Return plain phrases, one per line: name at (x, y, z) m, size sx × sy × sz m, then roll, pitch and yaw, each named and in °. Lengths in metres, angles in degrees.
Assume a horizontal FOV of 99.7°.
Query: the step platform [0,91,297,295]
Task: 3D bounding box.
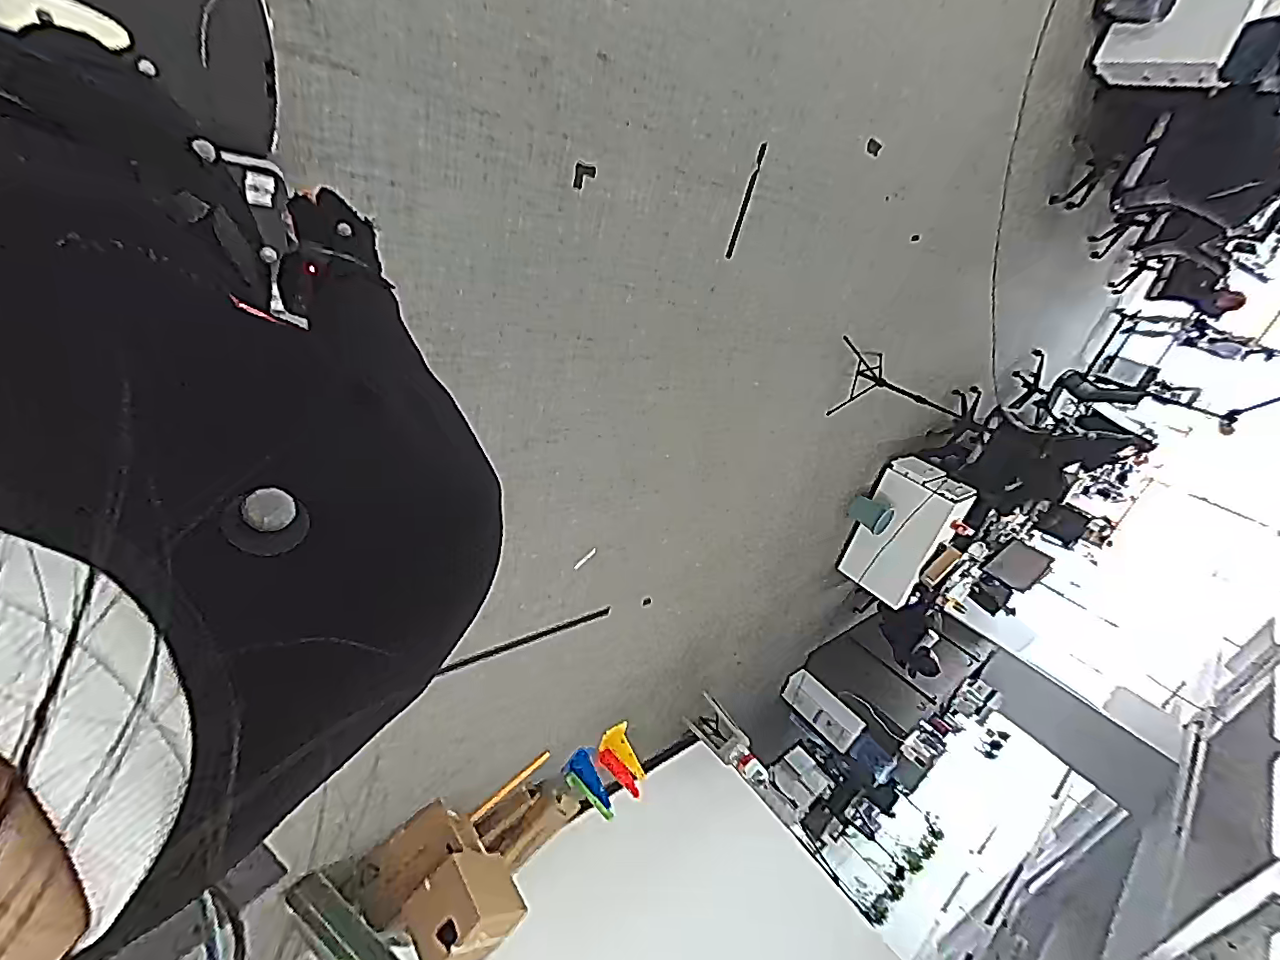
step platform at (-1.006, -0.505, 0.949) m, size 0.684 × 0.204 × 0.286 m, roll -10°, pitch 126°, yaw -39°
